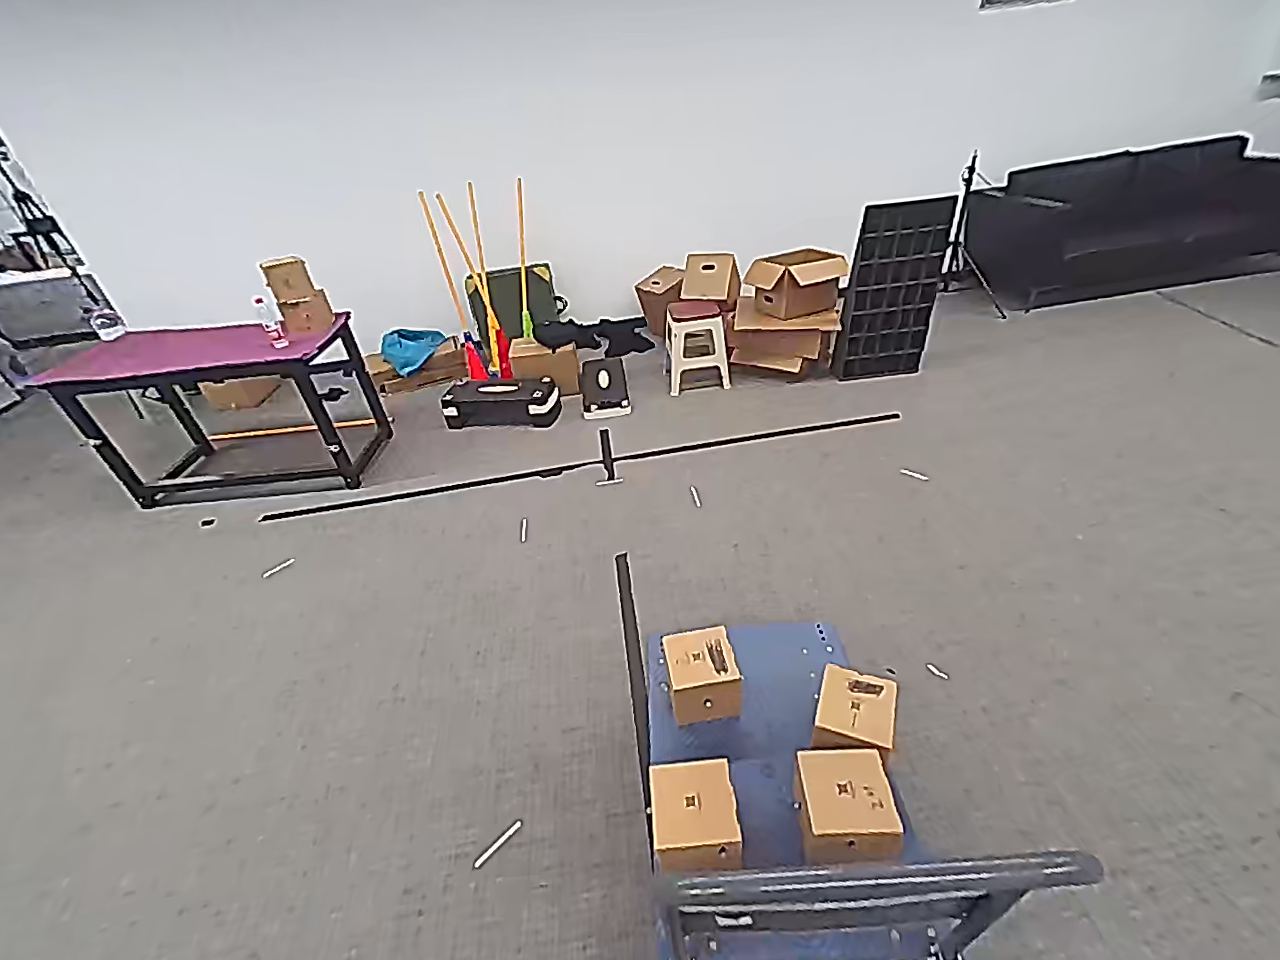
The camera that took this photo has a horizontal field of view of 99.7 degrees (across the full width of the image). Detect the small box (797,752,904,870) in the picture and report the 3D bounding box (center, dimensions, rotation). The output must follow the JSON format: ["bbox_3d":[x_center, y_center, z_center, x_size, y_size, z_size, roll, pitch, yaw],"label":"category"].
[{"bbox_3d":[0.436,0.705,1.151,0.179,0.176,0.168,-4,36,6],"label":"small box"}]

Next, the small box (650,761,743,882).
[{"bbox_3d":[0.120,0.739,1.167,0.179,0.176,0.168,-6,35,0],"label":"small box"}]

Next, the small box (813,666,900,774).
[{"bbox_3d":[0.516,0.589,1.300,0.168,0.176,0.179,10,39,23],"label":"small box"}]
